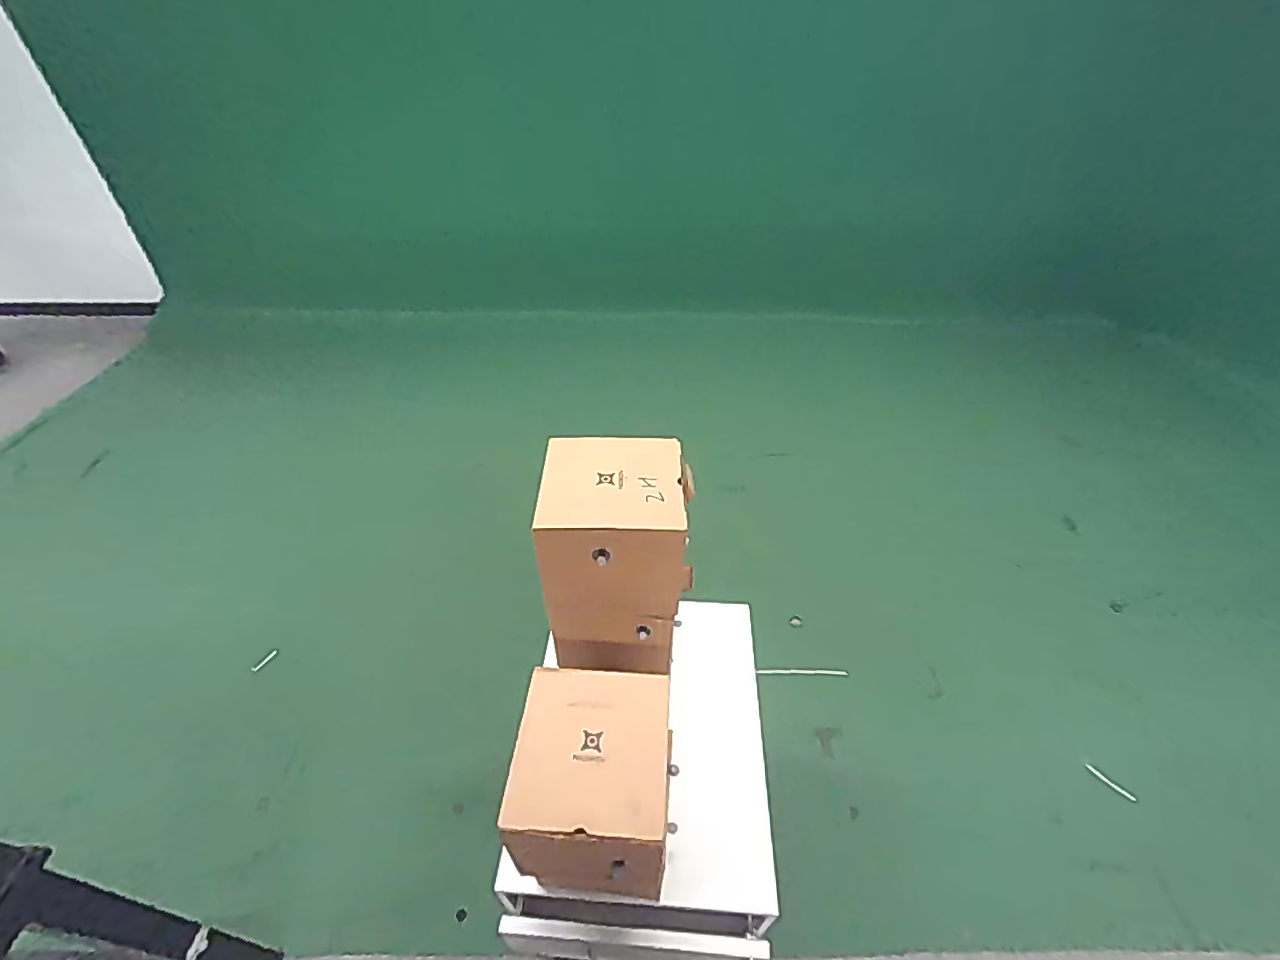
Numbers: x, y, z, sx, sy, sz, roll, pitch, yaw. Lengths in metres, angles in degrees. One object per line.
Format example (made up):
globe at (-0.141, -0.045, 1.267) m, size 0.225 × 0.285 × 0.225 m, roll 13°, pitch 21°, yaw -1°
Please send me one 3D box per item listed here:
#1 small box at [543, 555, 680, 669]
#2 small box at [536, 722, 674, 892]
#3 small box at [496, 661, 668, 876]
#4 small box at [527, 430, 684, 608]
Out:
small box at (-0.034, 0.170, 0.817) m, size 0.179 × 0.176 × 0.168 m, roll 6°, pitch 42°, yaw 4°
small box at (-0.050, 0.445, 0.751) m, size 0.179 × 0.176 × 0.168 m, roll 6°, pitch 41°, yaw 4°
small box at (-0.055, 0.337, 0.630) m, size 0.168 × 0.176 × 0.179 m, roll 3°, pitch 42°, yaw 1°
small box at (-0.038, 0.052, 0.702) m, size 0.179 × 0.176 × 0.168 m, roll 1°, pitch 43°, yaw -1°
